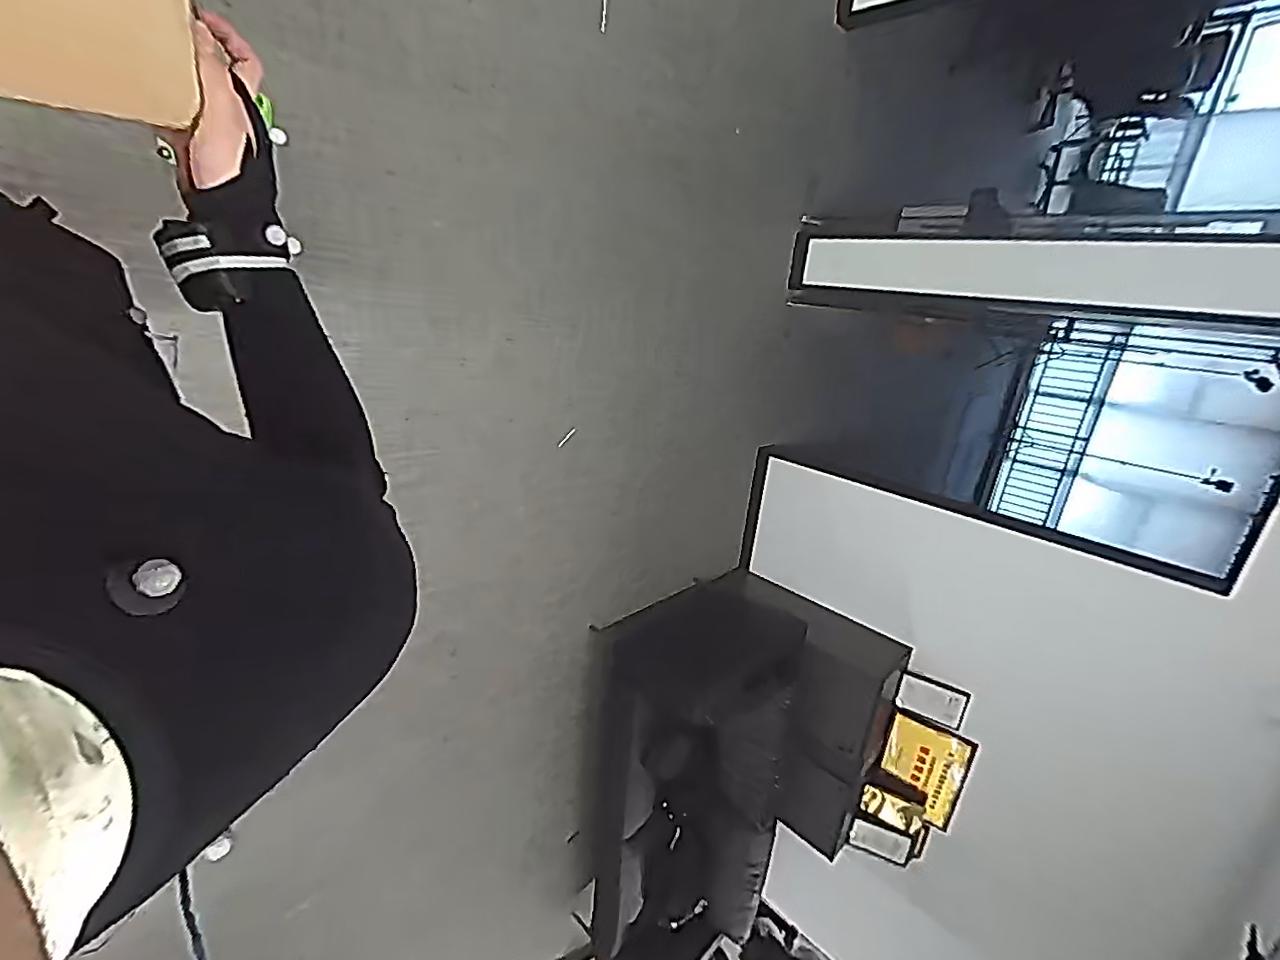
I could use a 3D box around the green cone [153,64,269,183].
[{"bbox_3d":[-0.797,-0.726,1.059,0.200,0.368,0.202,-6,111,-47],"label":"green cone"}]
